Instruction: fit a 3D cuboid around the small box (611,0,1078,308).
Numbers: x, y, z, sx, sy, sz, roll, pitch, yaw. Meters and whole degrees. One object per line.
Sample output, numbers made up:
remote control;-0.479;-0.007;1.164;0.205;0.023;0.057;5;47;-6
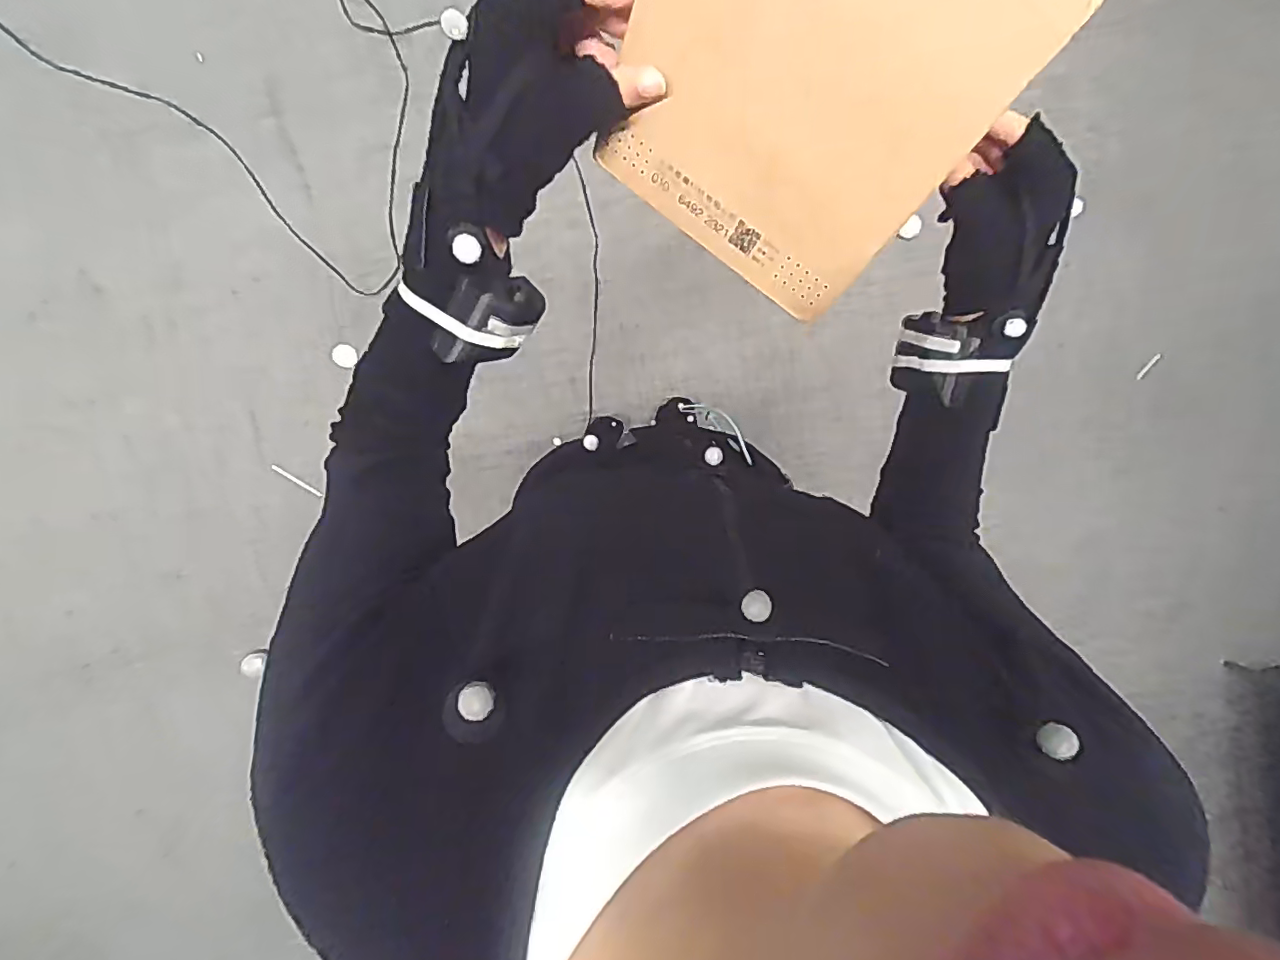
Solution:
small box;0.107;-0.237;0.304;0.168;0.176;0.179;38;56;1
